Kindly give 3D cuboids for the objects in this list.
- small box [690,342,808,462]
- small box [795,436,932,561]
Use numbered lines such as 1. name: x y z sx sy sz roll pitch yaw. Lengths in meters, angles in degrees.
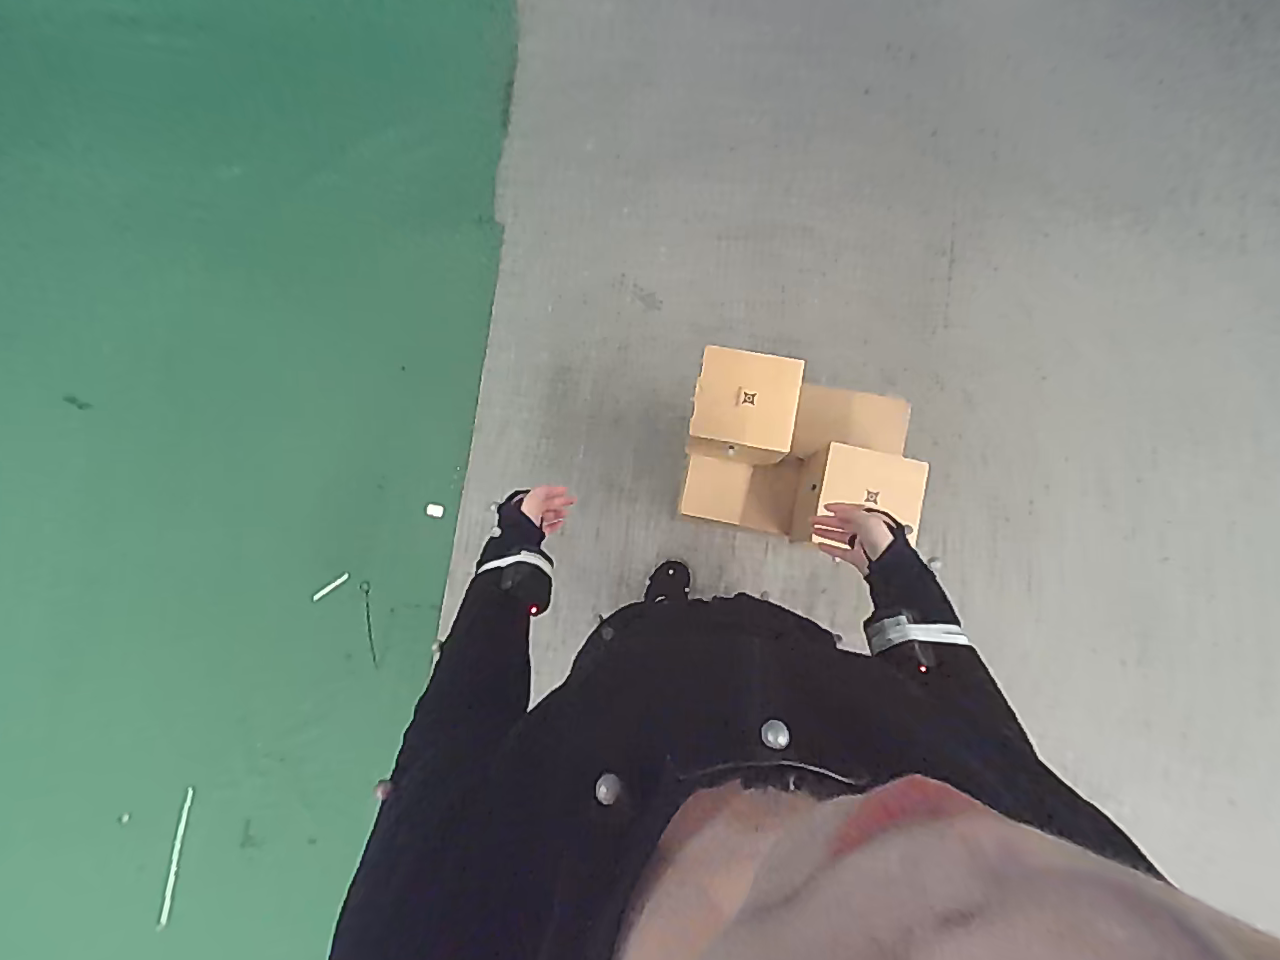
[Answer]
1. small box: 0.193 -0.135 0.999 0.179 0.176 0.168 11 83 6
2. small box: 0.387 0.039 0.963 0.168 0.176 0.179 13 84 6
